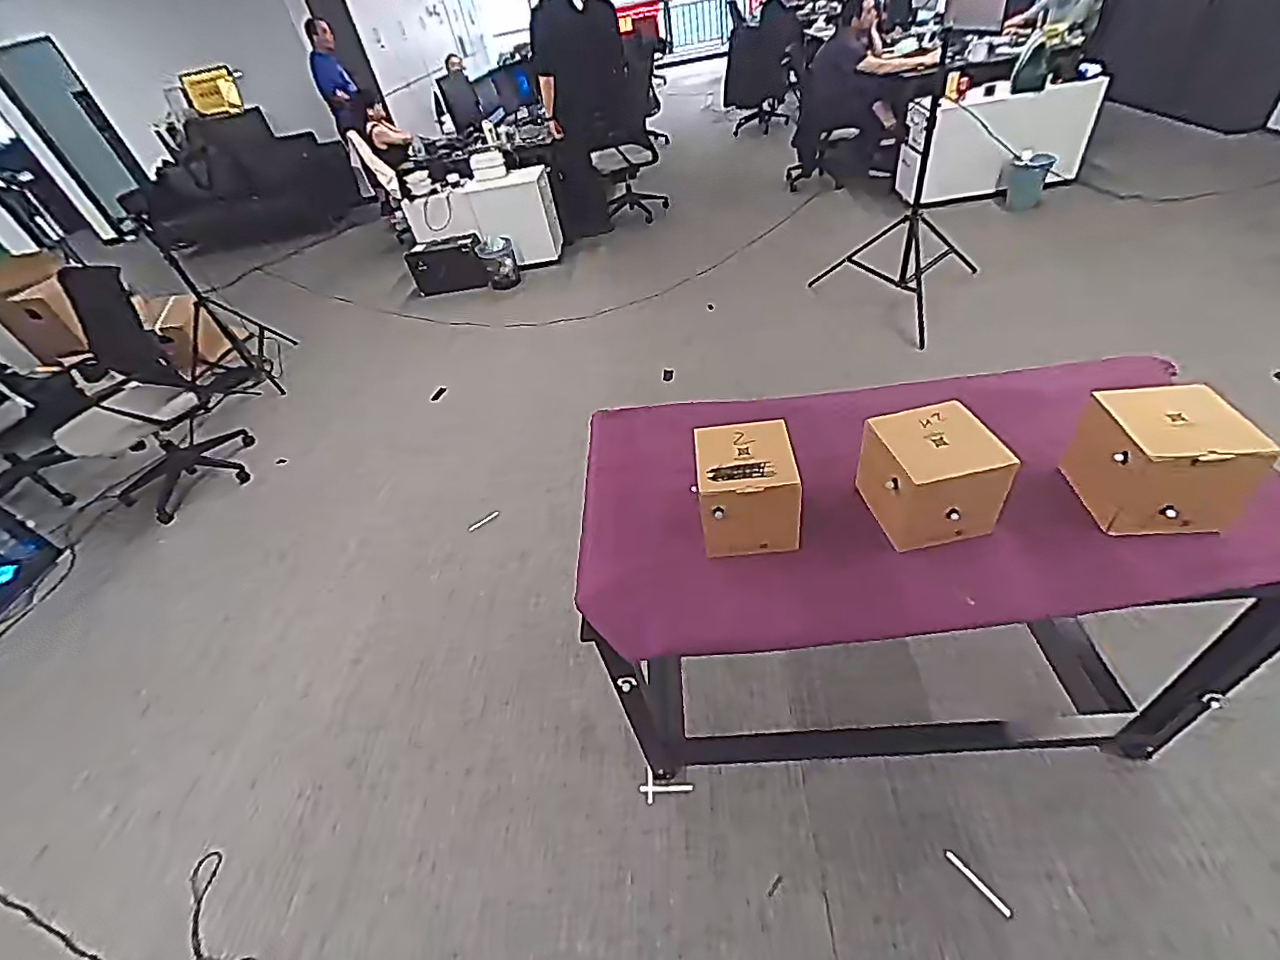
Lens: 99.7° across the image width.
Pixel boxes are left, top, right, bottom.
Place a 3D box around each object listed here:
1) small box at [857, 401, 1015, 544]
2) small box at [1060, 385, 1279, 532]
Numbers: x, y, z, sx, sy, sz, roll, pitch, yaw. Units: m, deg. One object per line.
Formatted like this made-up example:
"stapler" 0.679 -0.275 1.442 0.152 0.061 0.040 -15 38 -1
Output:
"small box" 0.496 -0.007 0.936 0.168 0.176 0.179 -12 42 0
"small box" 0.836 -0.033 0.883 0.168 0.176 0.179 -3 42 11
